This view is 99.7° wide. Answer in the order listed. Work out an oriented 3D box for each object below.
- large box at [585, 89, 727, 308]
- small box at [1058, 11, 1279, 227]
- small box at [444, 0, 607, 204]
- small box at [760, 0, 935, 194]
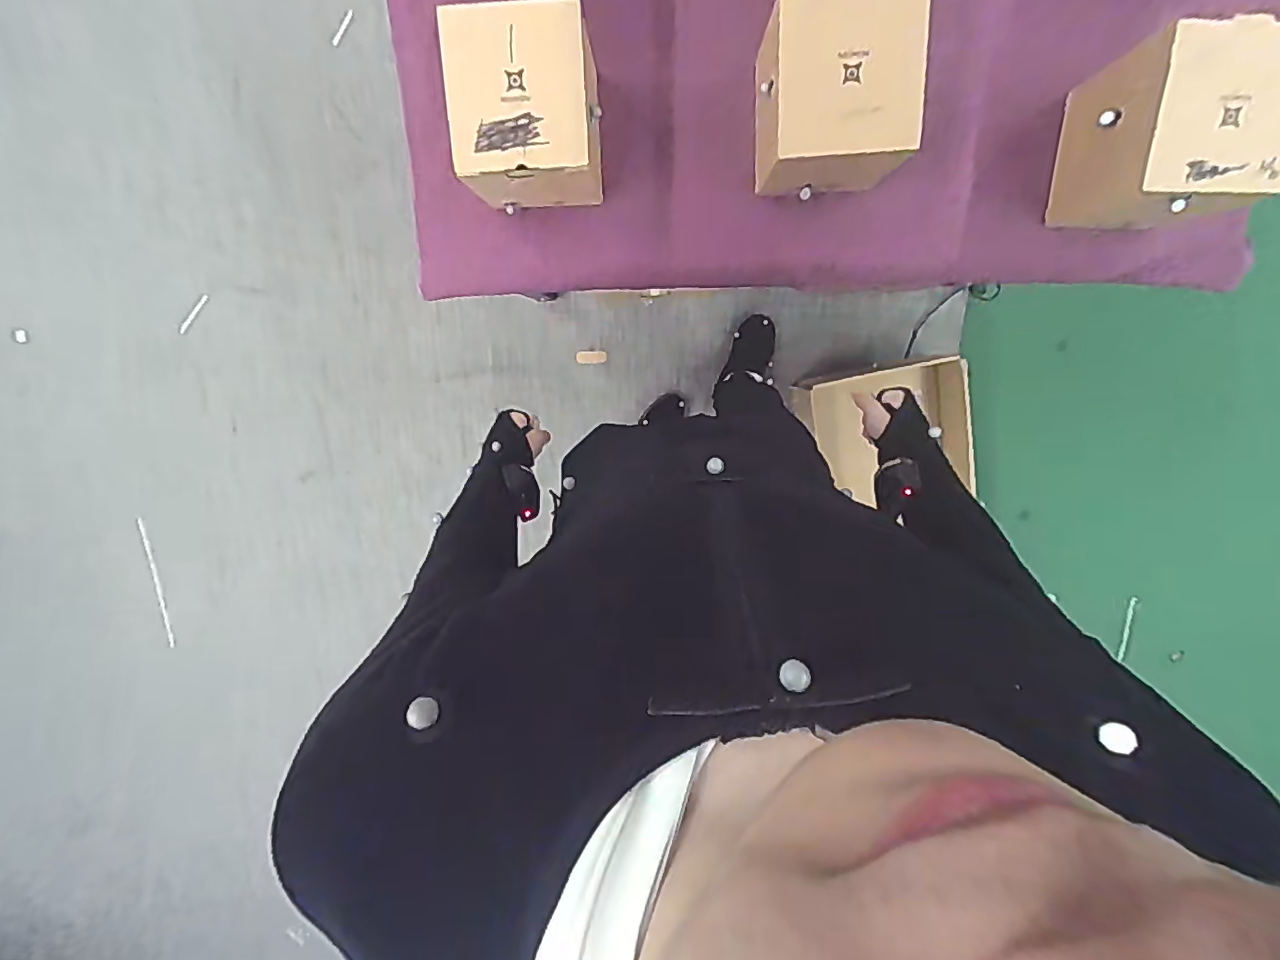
[{"bbox_3d":[0.038,-0.656,1.336,0.320,0.320,0.408,-3,102,2],"label":"large box"},{"bbox_3d":[0.672,-0.436,0.678,0.168,0.176,0.179,2,101,4],"label":"small box"},{"bbox_3d":[-0.135,-0.473,0.705,0.168,0.176,0.179,-2,102,2],"label":"small box"},{"bbox_3d":[0.248,-0.485,0.687,0.168,0.176,0.179,-2,103,4],"label":"small box"}]
